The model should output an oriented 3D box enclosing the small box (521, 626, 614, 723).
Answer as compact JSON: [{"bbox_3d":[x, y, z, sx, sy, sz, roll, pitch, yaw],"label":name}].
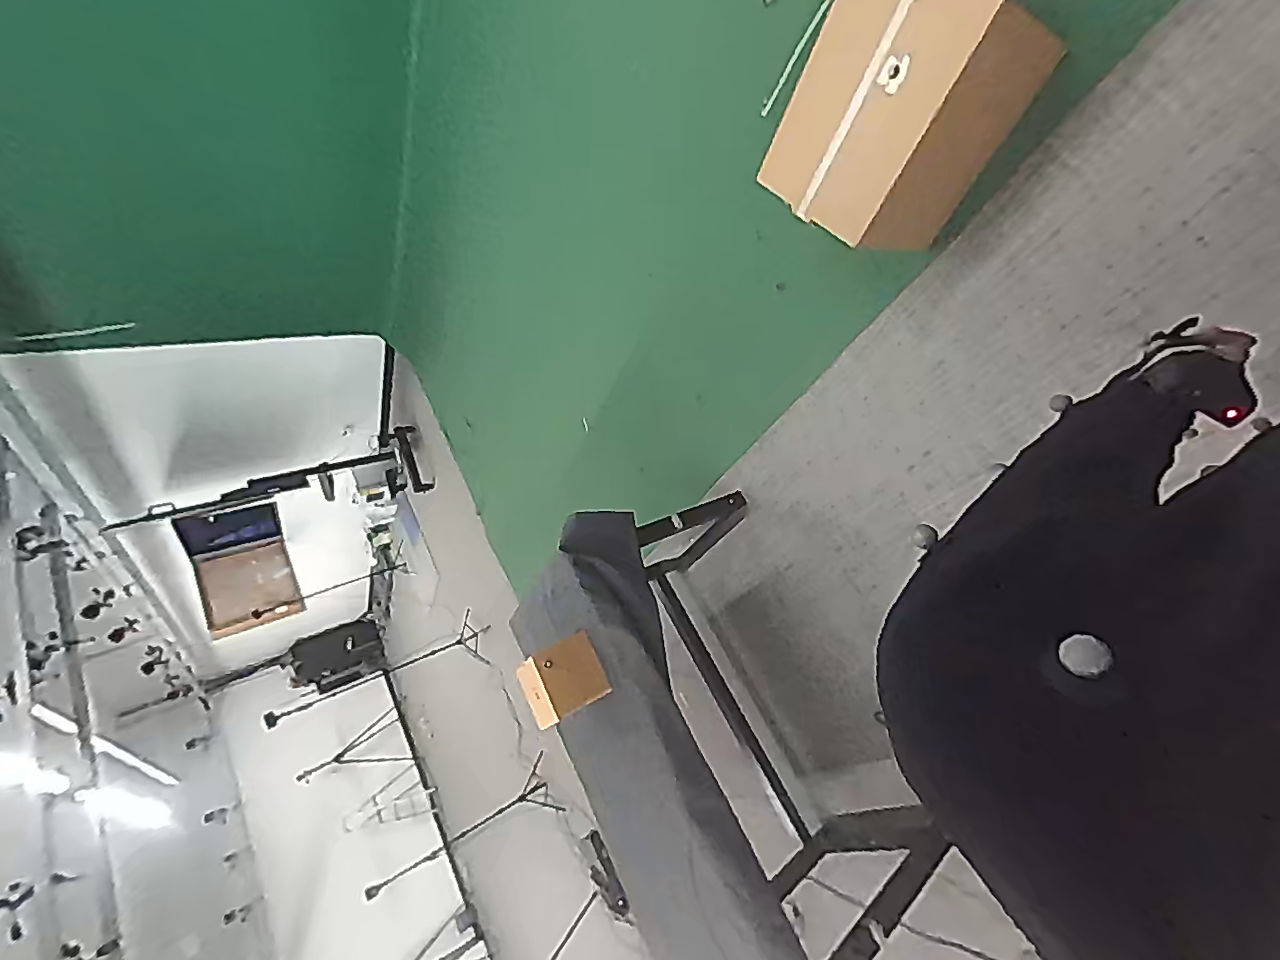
[{"bbox_3d":[-0.194,0.521,1.453,0.179,0.176,0.168,61,143,17],"label":"small box"}]
